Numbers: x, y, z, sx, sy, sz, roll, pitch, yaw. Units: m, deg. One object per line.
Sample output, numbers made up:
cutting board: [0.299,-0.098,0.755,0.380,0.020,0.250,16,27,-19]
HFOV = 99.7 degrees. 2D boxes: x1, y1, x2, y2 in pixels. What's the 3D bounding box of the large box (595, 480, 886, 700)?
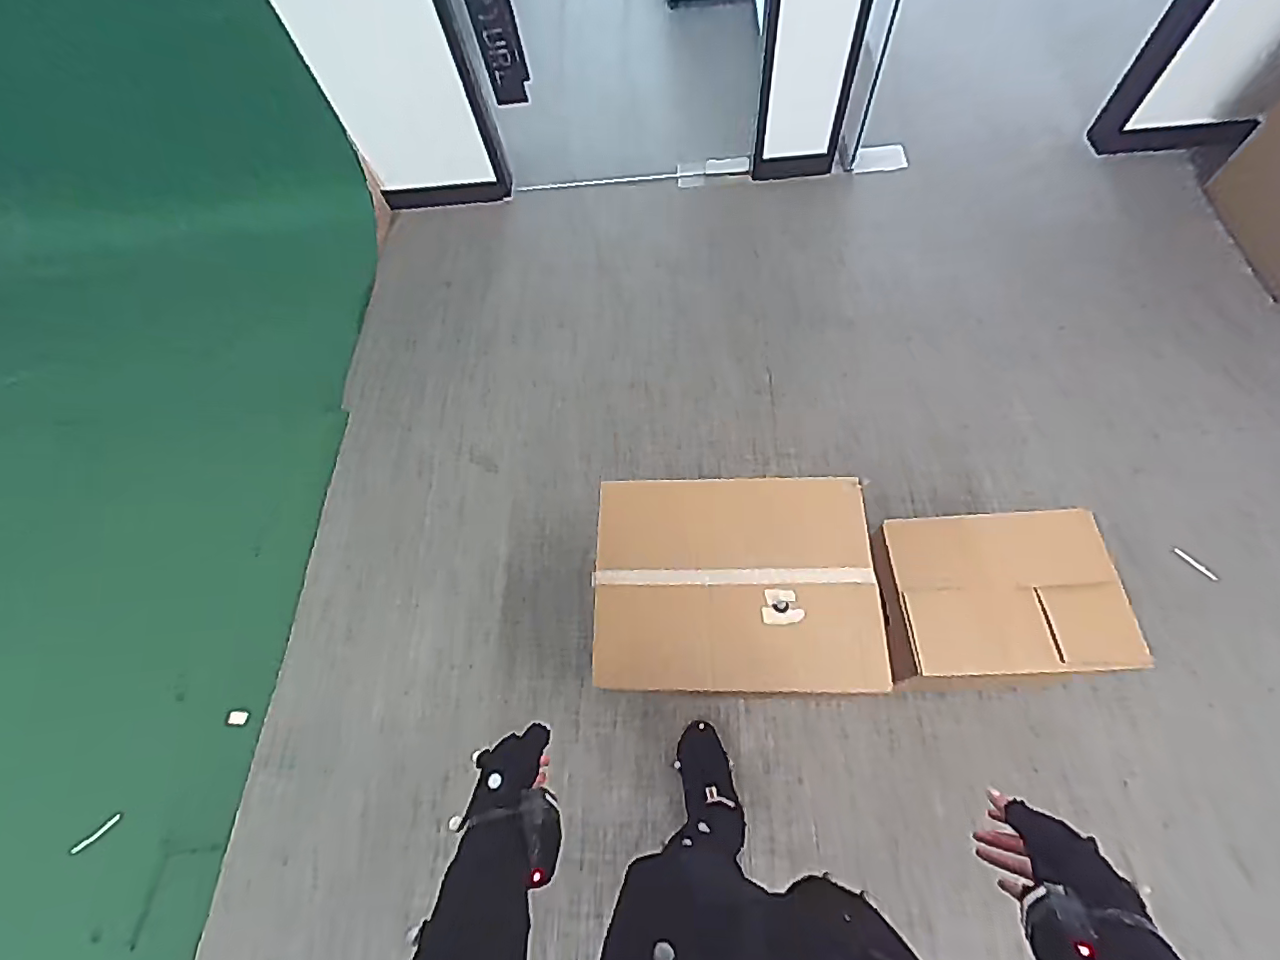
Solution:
large box: [0.143,0.205,0.929,0.408,0.320,0.320,-1,66,4]
